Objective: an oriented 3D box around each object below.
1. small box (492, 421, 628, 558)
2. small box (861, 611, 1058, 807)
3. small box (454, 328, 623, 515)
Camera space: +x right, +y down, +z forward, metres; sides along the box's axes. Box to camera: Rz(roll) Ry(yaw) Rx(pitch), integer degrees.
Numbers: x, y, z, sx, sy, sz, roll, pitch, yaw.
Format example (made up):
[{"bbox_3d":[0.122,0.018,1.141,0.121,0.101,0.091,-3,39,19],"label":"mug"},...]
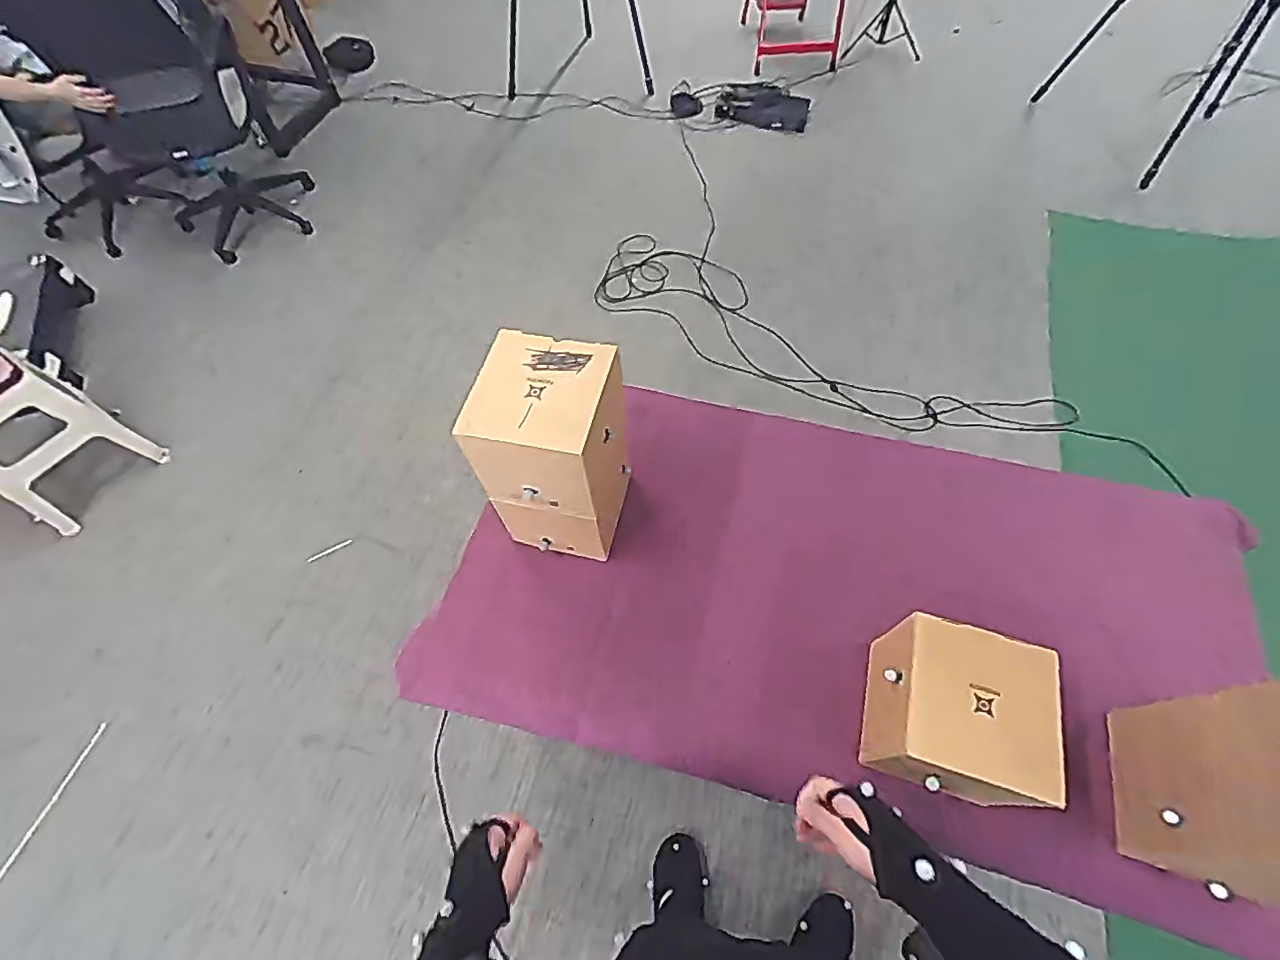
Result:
[{"bbox_3d":[-0.117,0.005,0.885,0.168,0.176,0.179,10,62,9],"label":"small box"},{"bbox_3d":[0.399,0.298,0.699,0.168,0.176,0.179,15,61,11],"label":"small box"},{"bbox_3d":[-0.123,-0.076,0.743,0.168,0.176,0.179,10,62,9],"label":"small box"}]
